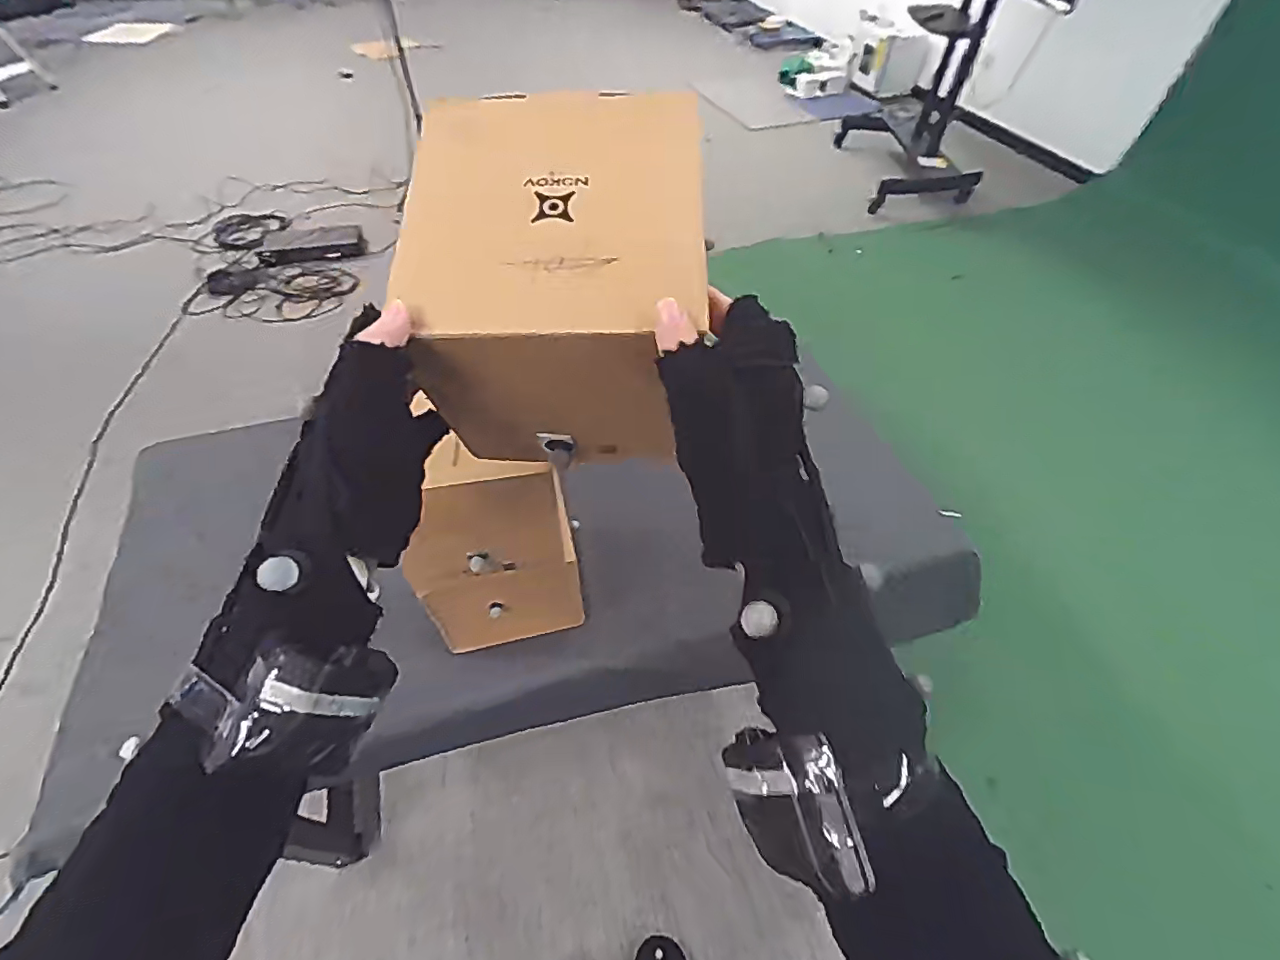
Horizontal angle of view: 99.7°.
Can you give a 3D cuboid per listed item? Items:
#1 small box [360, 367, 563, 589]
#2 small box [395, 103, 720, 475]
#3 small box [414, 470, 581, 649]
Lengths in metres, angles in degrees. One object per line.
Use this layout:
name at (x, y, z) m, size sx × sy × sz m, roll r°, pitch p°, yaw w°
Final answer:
small box at (-0.178, -0.006, 0.587) m, size 0.168 × 0.176 × 0.179 m, roll -8°, pitch 51°, yaw -8°
small box at (-0.037, -0.118, 0.373) m, size 0.168 × 0.176 × 0.179 m, roll 2°, pitch 69°, yaw 2°
small box at (-0.181, 0.102, 0.711) m, size 0.179 × 0.176 × 0.168 m, roll -11°, pitch 51°, yaw -10°
